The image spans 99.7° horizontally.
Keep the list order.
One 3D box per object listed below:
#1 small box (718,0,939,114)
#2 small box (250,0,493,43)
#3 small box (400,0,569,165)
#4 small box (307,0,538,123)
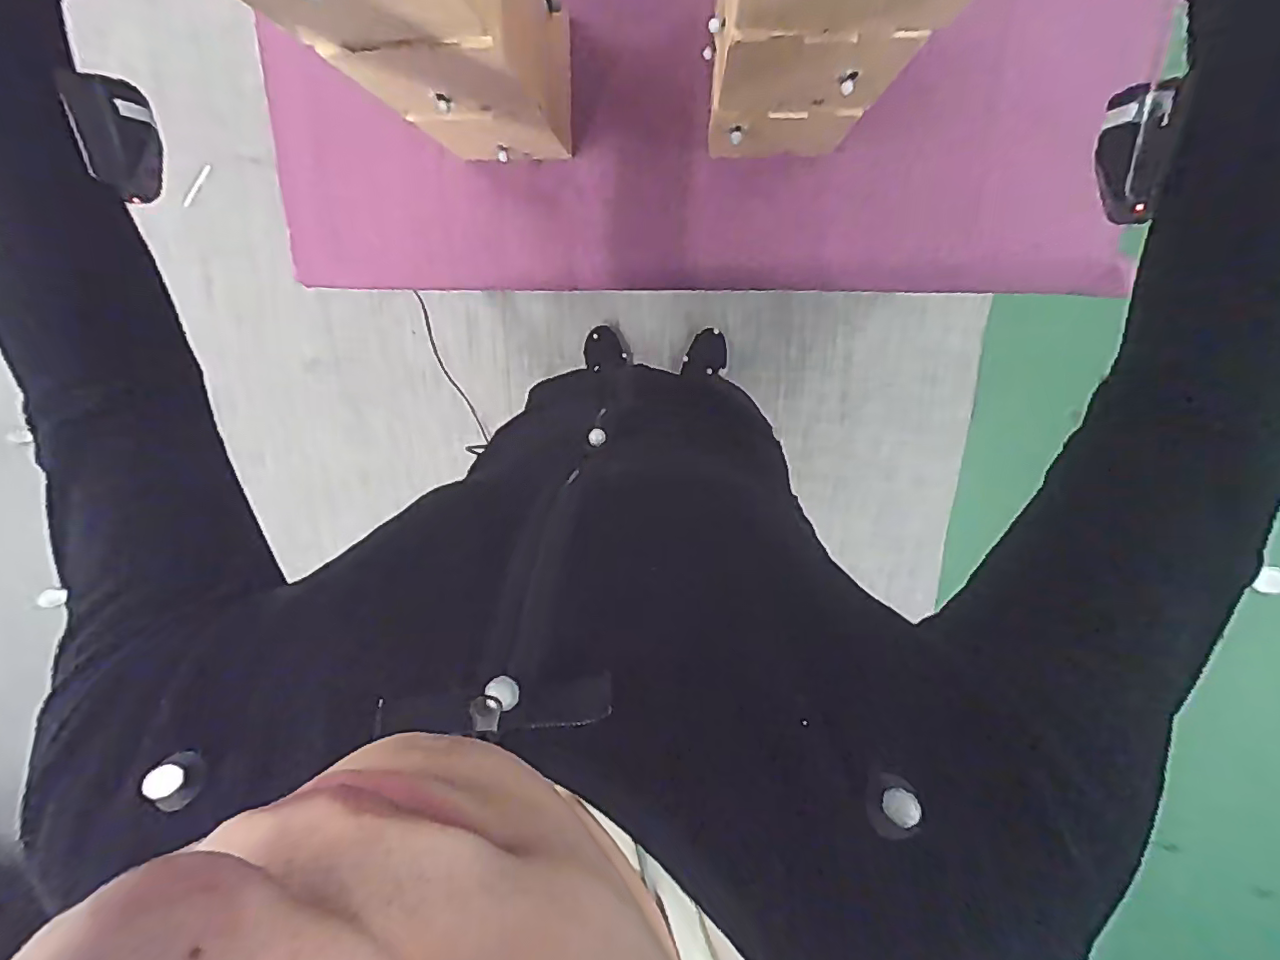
[{"bbox_3d":[0.161,-0.456,0.490,0.168,0.176,0.179,2,106,4],"label":"small box"},{"bbox_3d":[-0.217,-0.427,0.361,0.179,0.176,0.168,1,107,6],"label":"small box"},{"bbox_3d":[-0.186,-0.515,0.673,0.168,0.176,0.179,3,107,5],"label":"small box"},{"bbox_3d":[-0.200,-0.472,0.517,0.168,0.176,0.179,1,107,4],"label":"small box"}]
